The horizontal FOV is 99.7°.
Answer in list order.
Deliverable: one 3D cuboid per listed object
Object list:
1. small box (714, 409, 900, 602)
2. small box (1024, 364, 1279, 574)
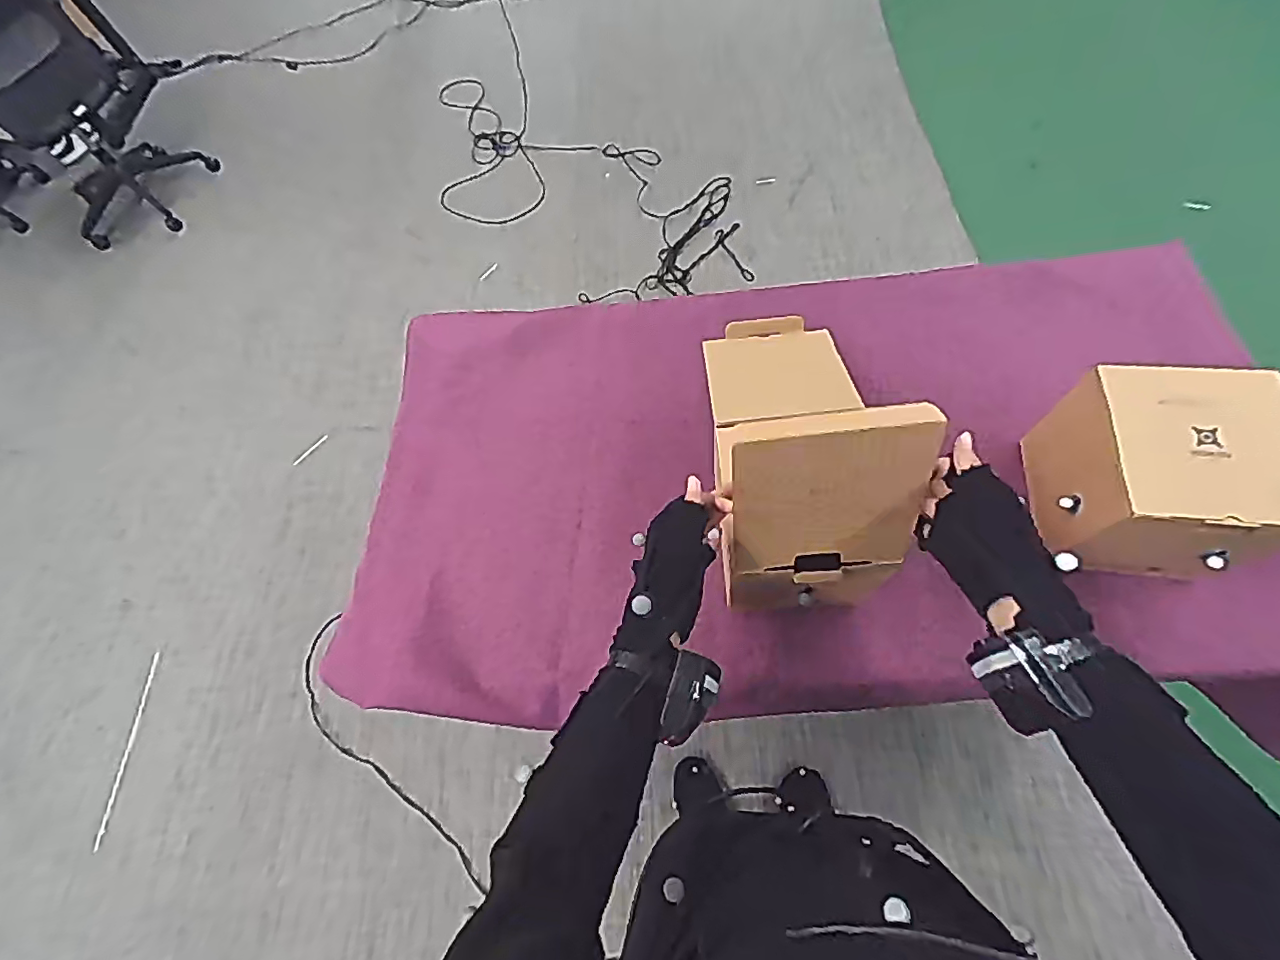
[{"bbox_3d":[0.178,0.041,0.631,0.168,0.176,0.179,-5,64,6],"label":"small box"},{"bbox_3d":[0.560,-0.005,0.595,0.168,0.176,0.179,5,66,11],"label":"small box"}]
